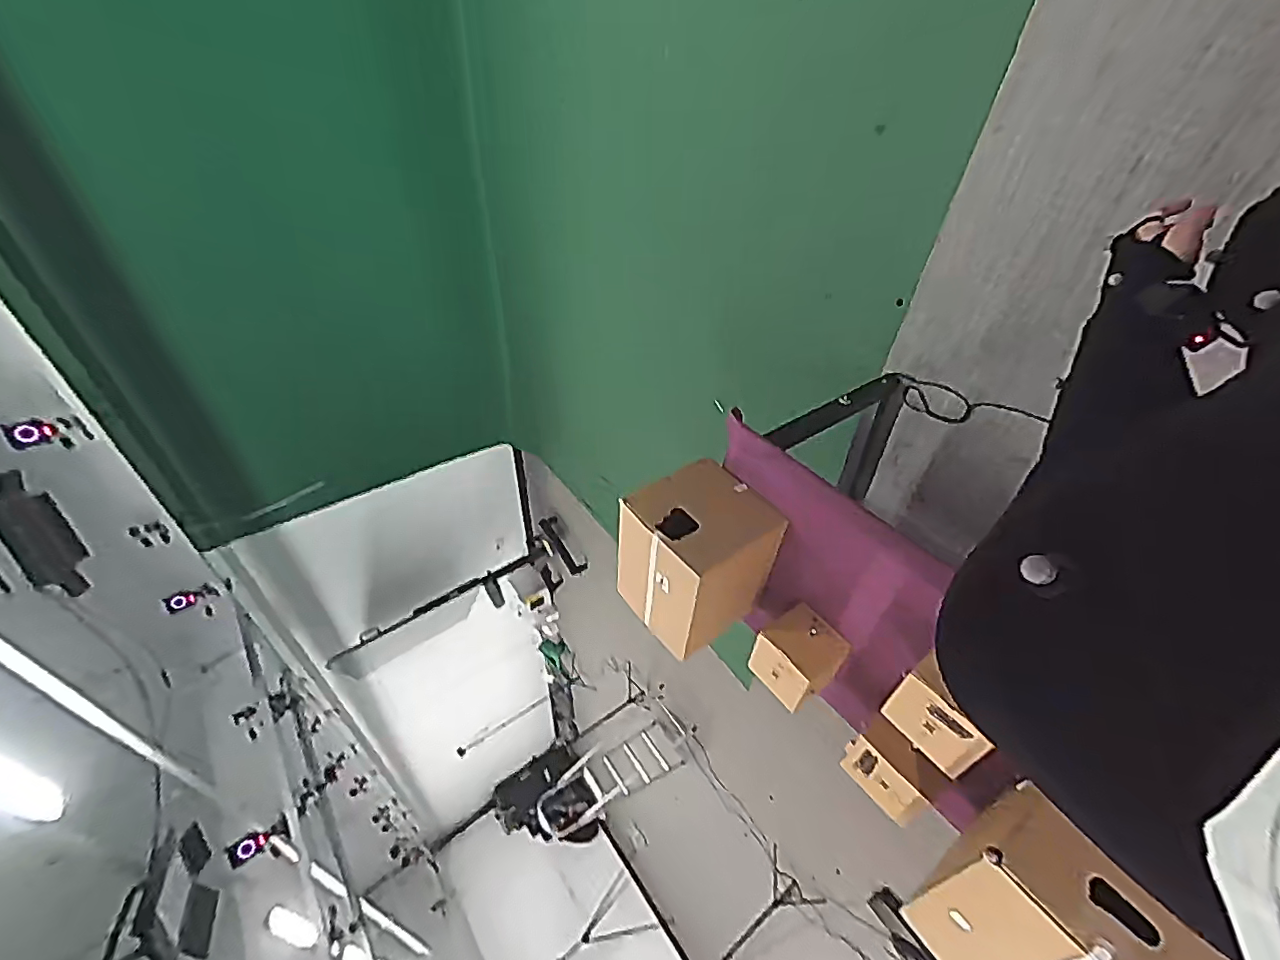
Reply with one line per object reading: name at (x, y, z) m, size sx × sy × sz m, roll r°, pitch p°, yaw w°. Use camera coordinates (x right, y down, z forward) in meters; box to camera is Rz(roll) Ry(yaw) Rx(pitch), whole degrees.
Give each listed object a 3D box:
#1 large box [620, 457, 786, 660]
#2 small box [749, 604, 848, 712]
large box at (0.158, 0.214, 1.514) m, size 0.320 × 0.320 × 0.408 m, roll 41°, pitch 144°, yaw 33°
small box at (0.417, 0.464, 1.424) m, size 0.168 × 0.176 × 0.179 m, roll 42°, pitch 144°, yaw 34°
